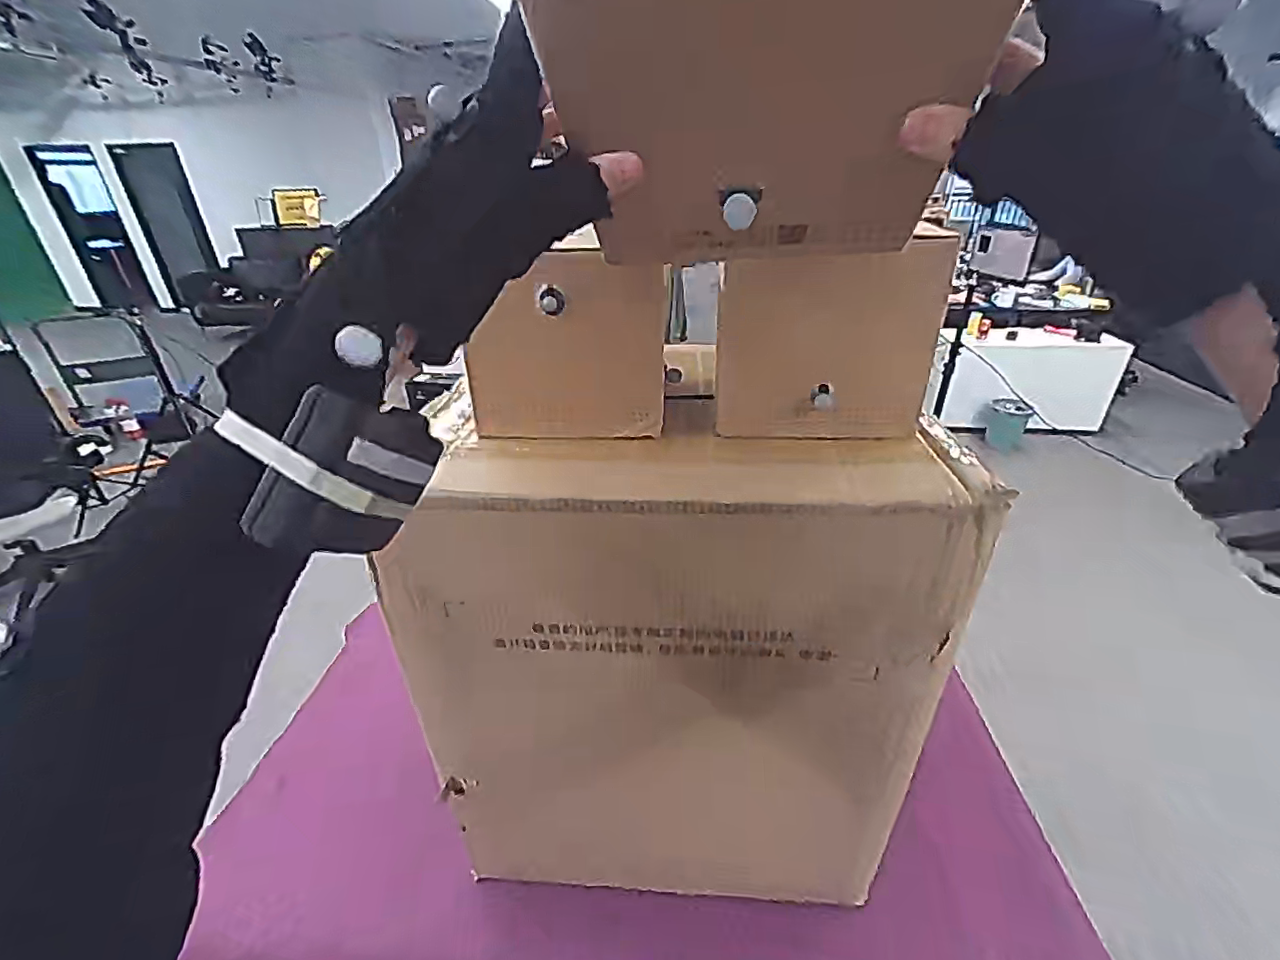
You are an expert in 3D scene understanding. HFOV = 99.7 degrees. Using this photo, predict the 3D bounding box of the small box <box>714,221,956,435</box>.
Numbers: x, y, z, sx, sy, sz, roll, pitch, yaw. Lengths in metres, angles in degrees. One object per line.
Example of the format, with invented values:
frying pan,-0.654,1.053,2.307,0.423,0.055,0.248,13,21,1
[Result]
small box,0.162,-0.150,0.518,0.179,0.176,0.168,0,30,6

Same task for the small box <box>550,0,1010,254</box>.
small box,0.056,-0.235,0.252,0.168,0.179,0.176,1,-15,9
